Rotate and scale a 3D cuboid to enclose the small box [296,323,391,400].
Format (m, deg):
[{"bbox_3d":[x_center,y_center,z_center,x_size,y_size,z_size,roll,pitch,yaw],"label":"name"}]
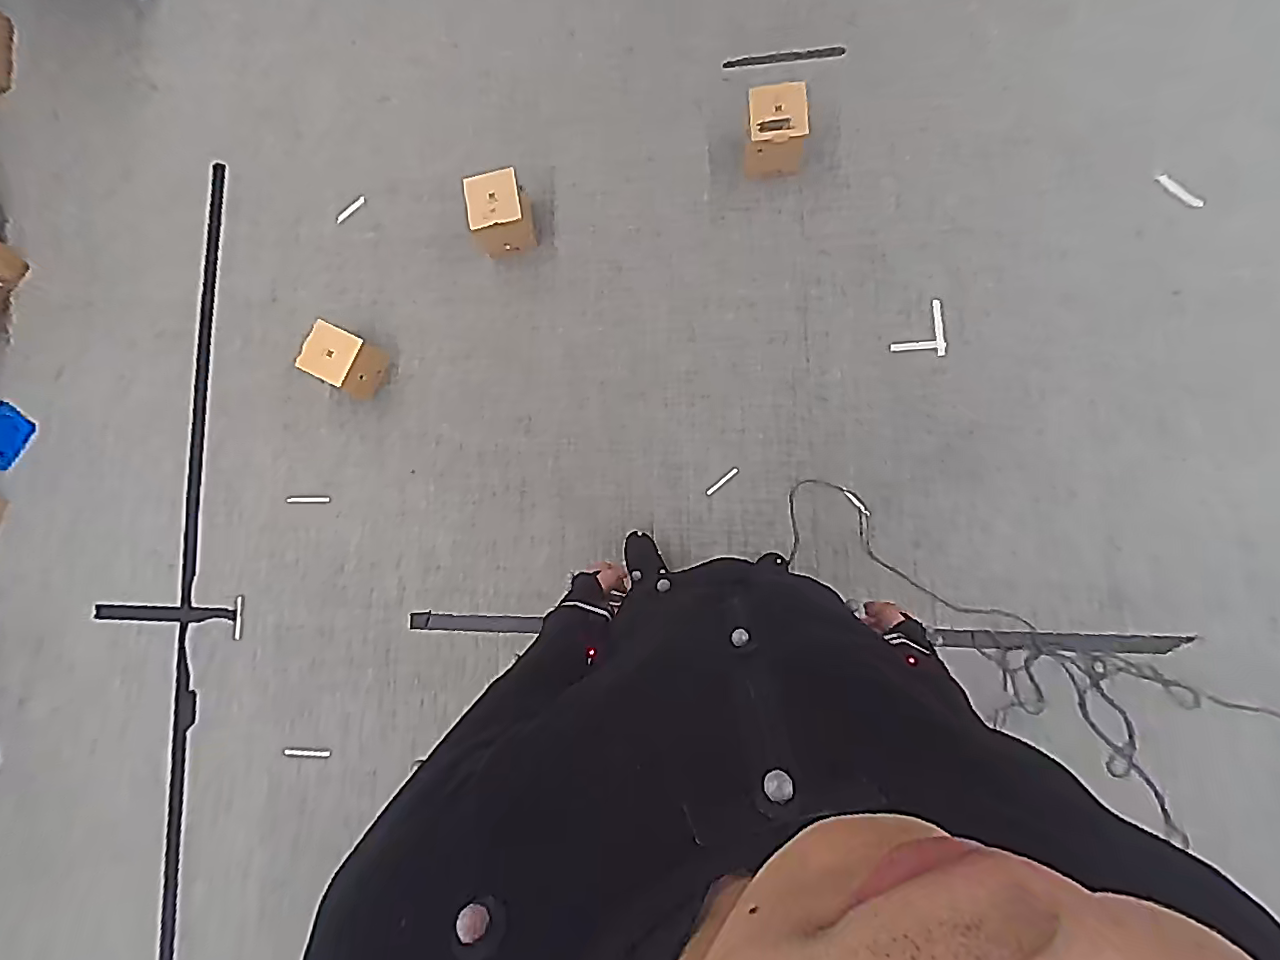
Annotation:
[{"bbox_3d":[-0.941,-0.370,1.734,0.179,0.176,0.168,25,87,8],"label":"small box"}]

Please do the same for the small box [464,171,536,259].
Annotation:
[{"bbox_3d":[-0.444,-0.841,1.729,0.168,0.176,0.179,-11,84,5],"label":"small box"}]
